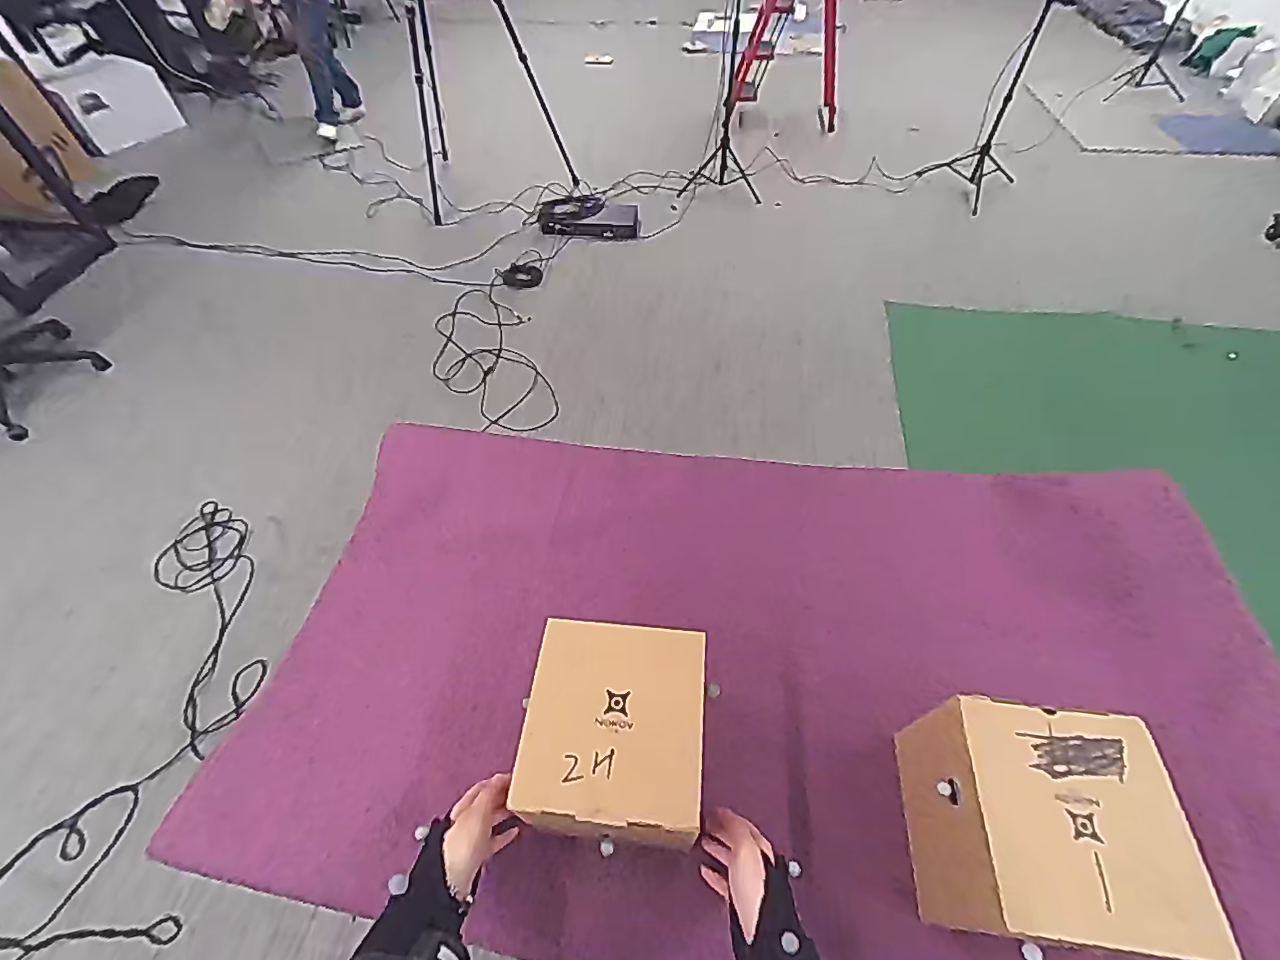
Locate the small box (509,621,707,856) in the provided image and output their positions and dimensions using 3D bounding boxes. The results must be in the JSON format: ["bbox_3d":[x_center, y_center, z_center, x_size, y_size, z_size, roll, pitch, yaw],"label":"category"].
[{"bbox_3d":[-0.021,0.270,0.563,0.168,0.176,0.179,4,51,5],"label":"small box"}]

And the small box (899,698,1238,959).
[{"bbox_3d":[0.366,0.330,0.512,0.168,0.176,0.179,5,53,5],"label":"small box"}]
